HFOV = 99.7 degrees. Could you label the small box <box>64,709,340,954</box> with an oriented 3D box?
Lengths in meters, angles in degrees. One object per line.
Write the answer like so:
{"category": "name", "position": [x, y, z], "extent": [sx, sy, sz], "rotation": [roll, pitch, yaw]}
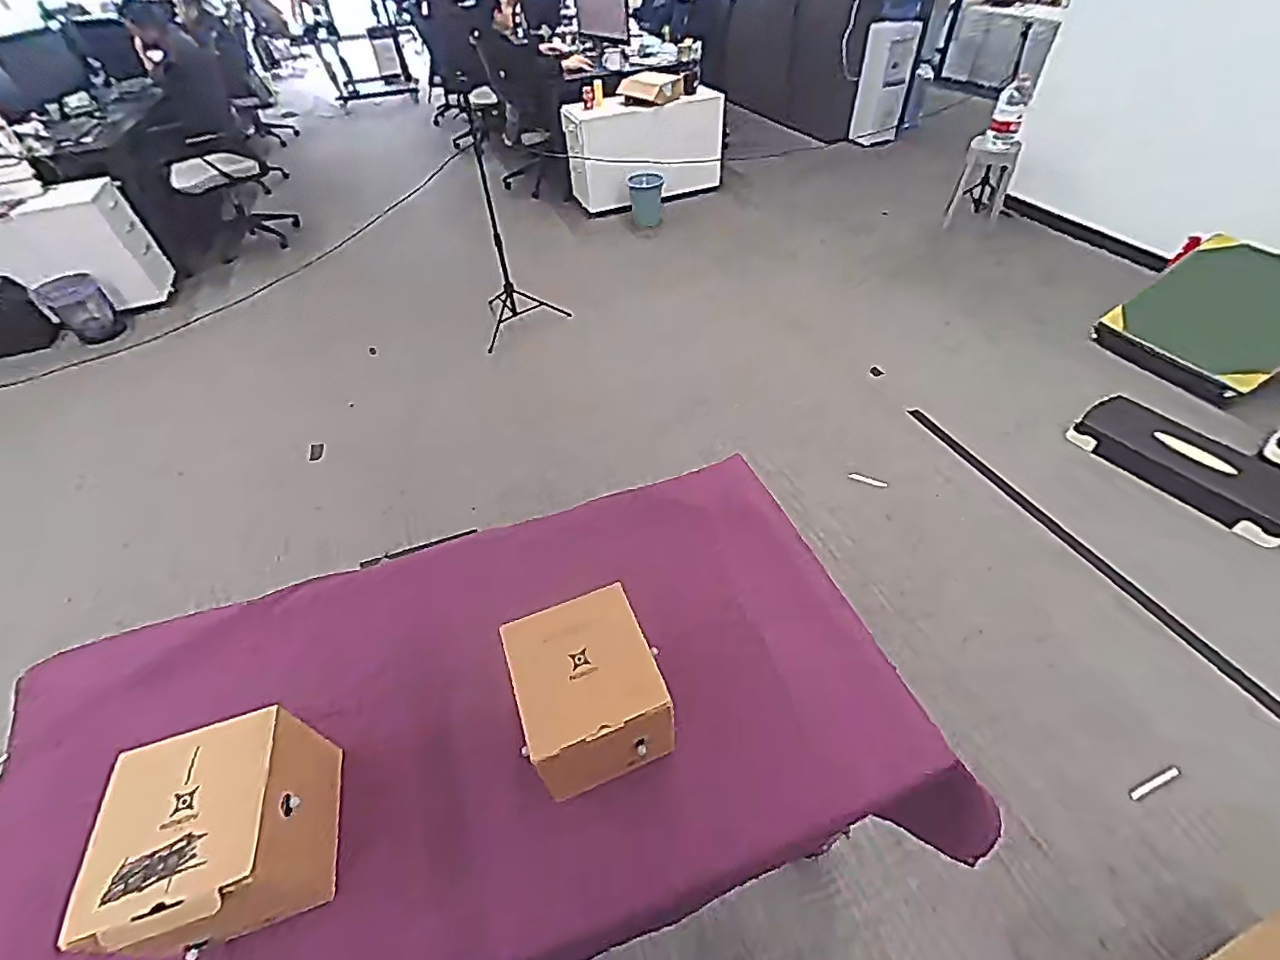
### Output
{"category": "small box", "position": [-0.462, 0.397, 0.612], "extent": [0.168, 0.176, 0.179], "rotation": [-15, 47, -11]}

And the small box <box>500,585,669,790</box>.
{"category": "small box", "position": [-0.067, 0.274, 0.701], "extent": [0.168, 0.176, 0.179], "rotation": [-18, 48, -13]}
